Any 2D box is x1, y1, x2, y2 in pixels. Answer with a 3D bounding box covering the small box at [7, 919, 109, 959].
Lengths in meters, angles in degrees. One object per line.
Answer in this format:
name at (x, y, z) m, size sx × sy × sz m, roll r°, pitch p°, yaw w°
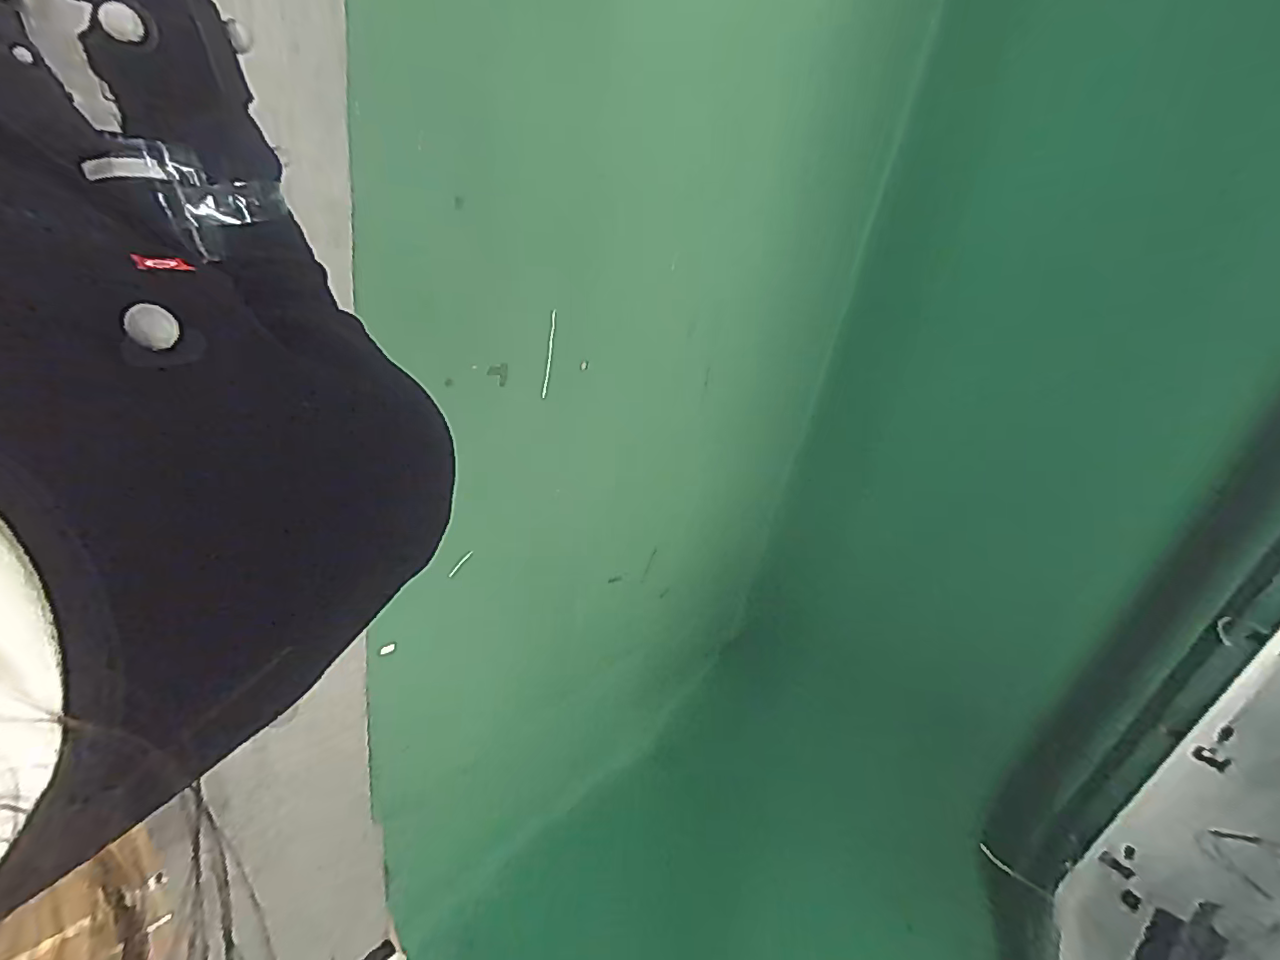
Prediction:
small box at (-1.232, 1.080, 1.130) m, size 0.168 × 0.176 × 0.179 m, roll -22°, pitch 130°, yaw -45°
